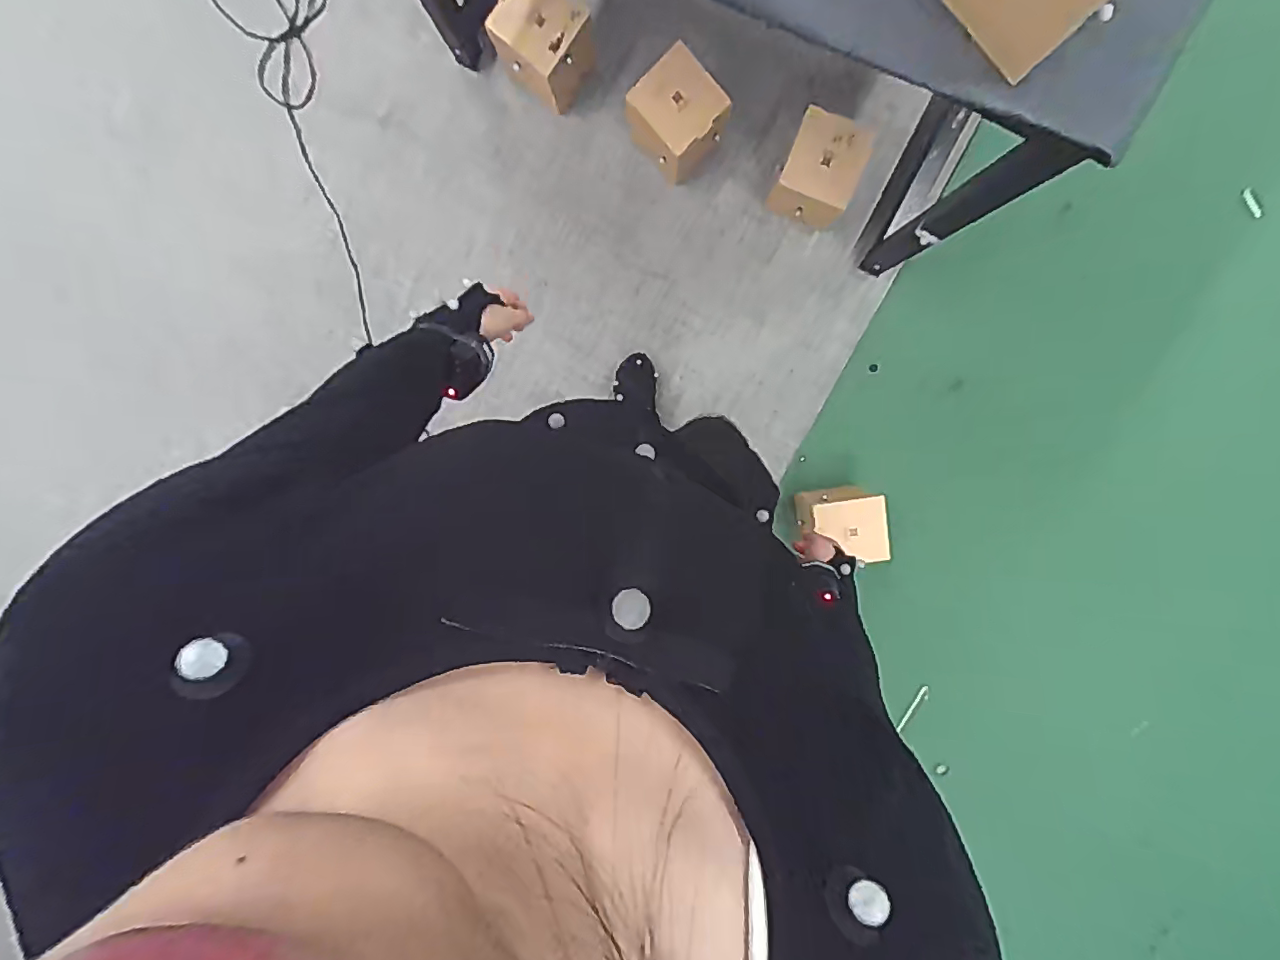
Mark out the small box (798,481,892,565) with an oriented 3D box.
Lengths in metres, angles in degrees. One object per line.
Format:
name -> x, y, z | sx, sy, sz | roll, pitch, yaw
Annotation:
small box -> 0.522, 0.105, 1.393 | 0.179, 0.176, 0.168 | -9, 99, 4

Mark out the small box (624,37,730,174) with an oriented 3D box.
small box -> 0.085, -0.848, 1.253 | 0.168, 0.176, 0.179 | -43, 94, 7

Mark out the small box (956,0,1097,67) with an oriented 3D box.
small box -> 0.433, -0.579, 0.539 | 0.168, 0.176, 0.179 | -43, 94, 6

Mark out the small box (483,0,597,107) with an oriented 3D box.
small box -> -0.220, -1.012, 1.239 | 0.179, 0.176, 0.168 | 38, 99, -3

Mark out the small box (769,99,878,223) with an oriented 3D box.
small box -> 0.413, -0.728, 1.258 | 0.168, 0.176, 0.179 | 21, 100, -2
